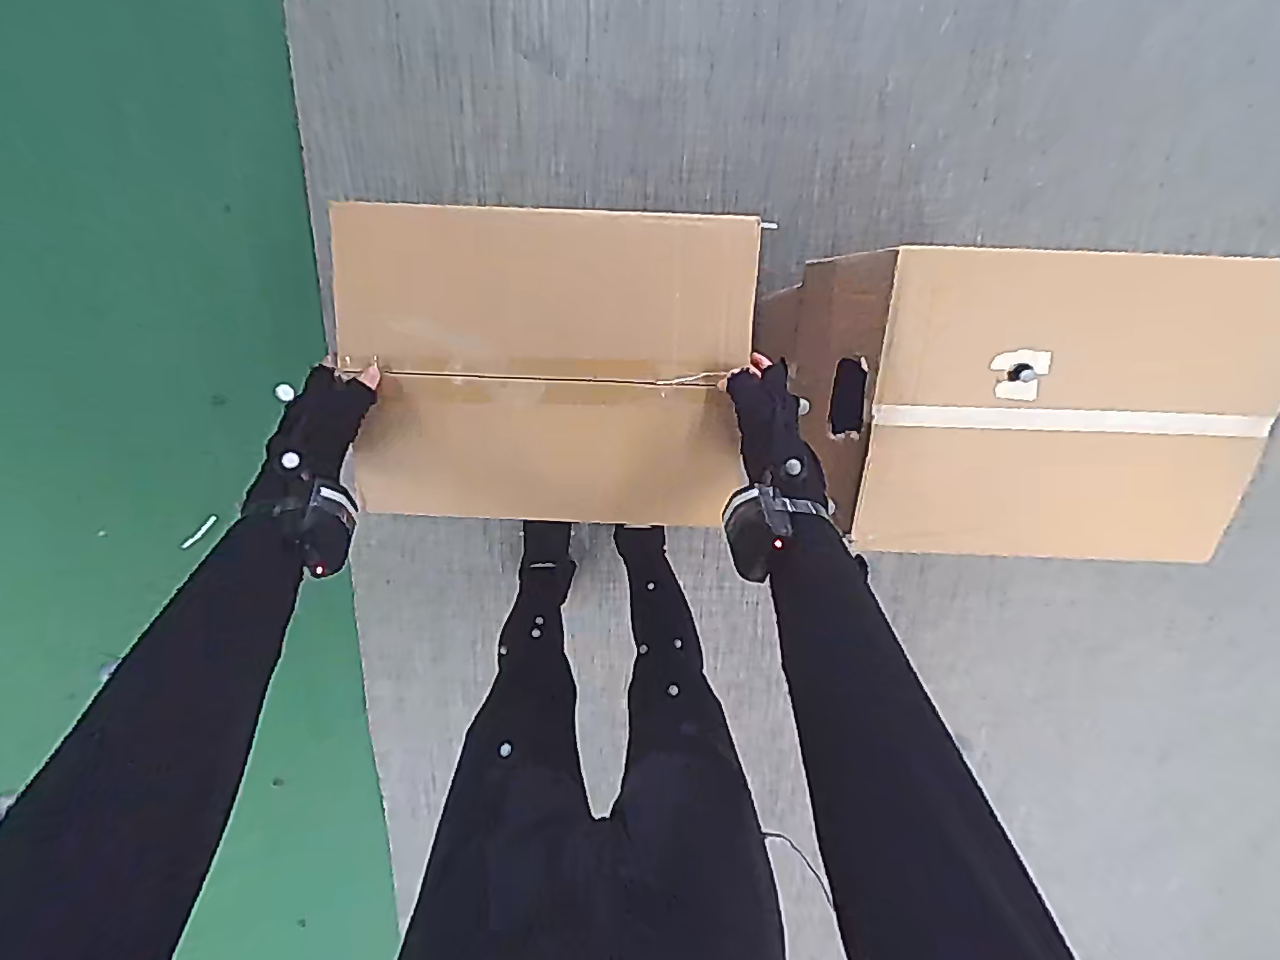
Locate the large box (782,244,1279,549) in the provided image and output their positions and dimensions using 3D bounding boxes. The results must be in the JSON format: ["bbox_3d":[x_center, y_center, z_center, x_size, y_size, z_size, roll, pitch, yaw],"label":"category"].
[{"bbox_3d":[0.427,-0.123,0.692,0.408,0.320,0.320,2,109,1],"label":"large box"}]
